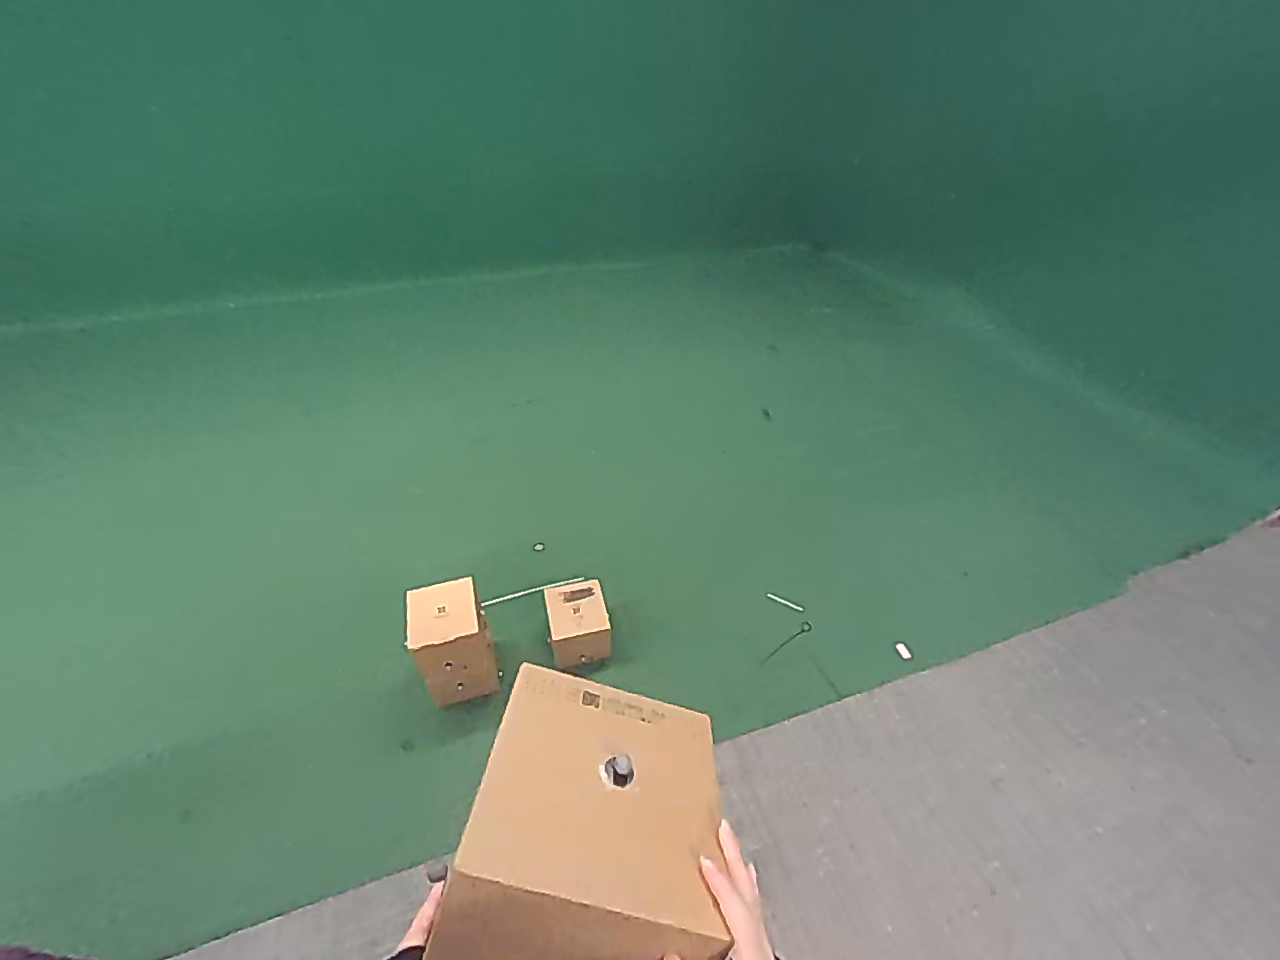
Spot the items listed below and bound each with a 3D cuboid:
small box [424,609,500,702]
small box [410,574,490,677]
[{"bbox_3d":[-0.499,0.494,1.522,0.179,0.176,0.168,-13,46,-13],"label":"small box"},{"bbox_3d":[-0.493,0.379,1.407,0.168,0.176,0.179,-12,46,-14],"label":"small box"}]
